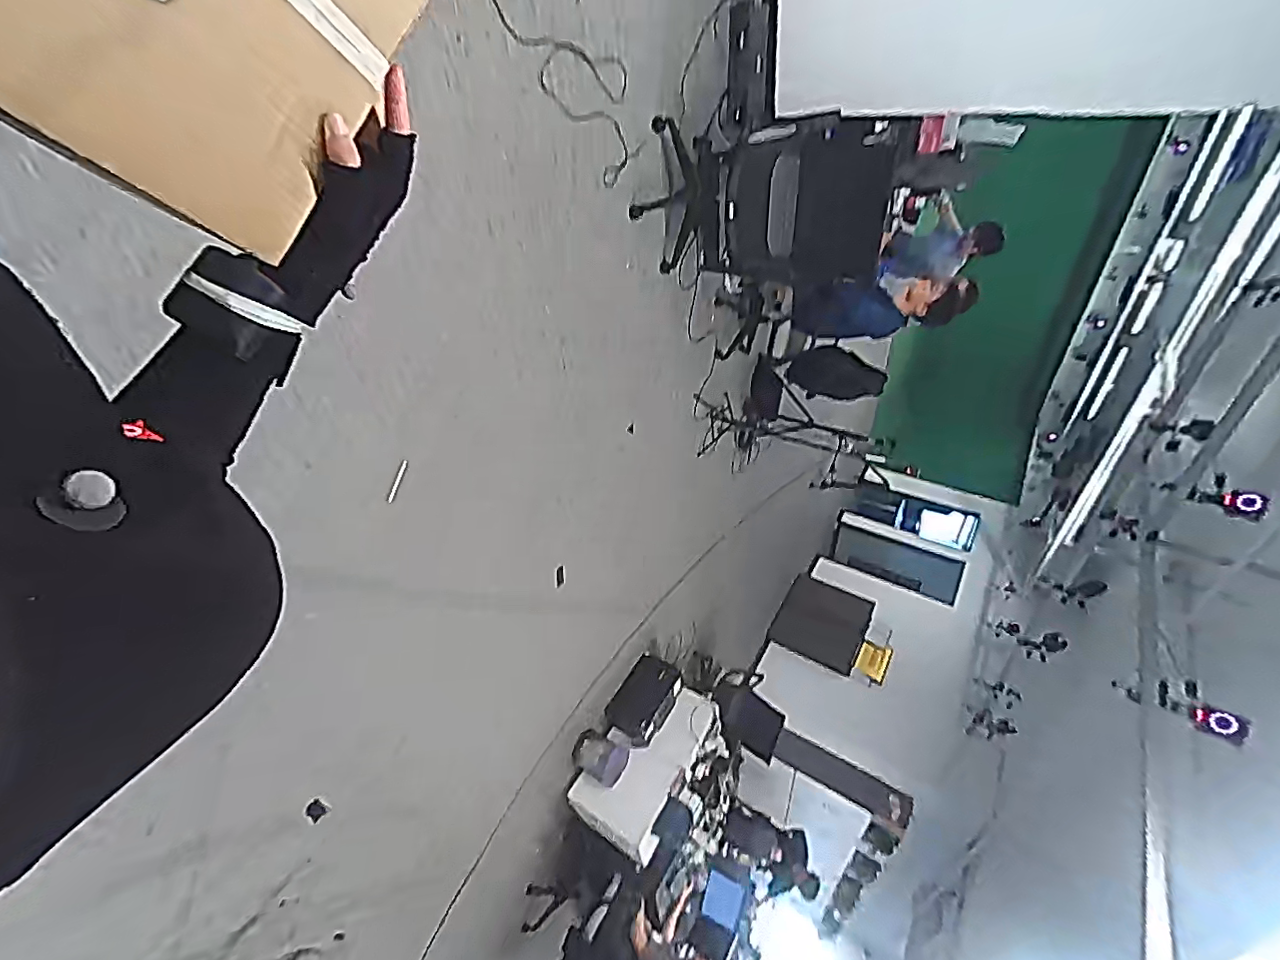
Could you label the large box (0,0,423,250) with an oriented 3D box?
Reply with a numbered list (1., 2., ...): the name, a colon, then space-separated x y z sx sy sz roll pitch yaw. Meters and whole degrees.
1. large box: -0.397 -0.410 0.313 0.320 0.320 0.408 -60 148 0
